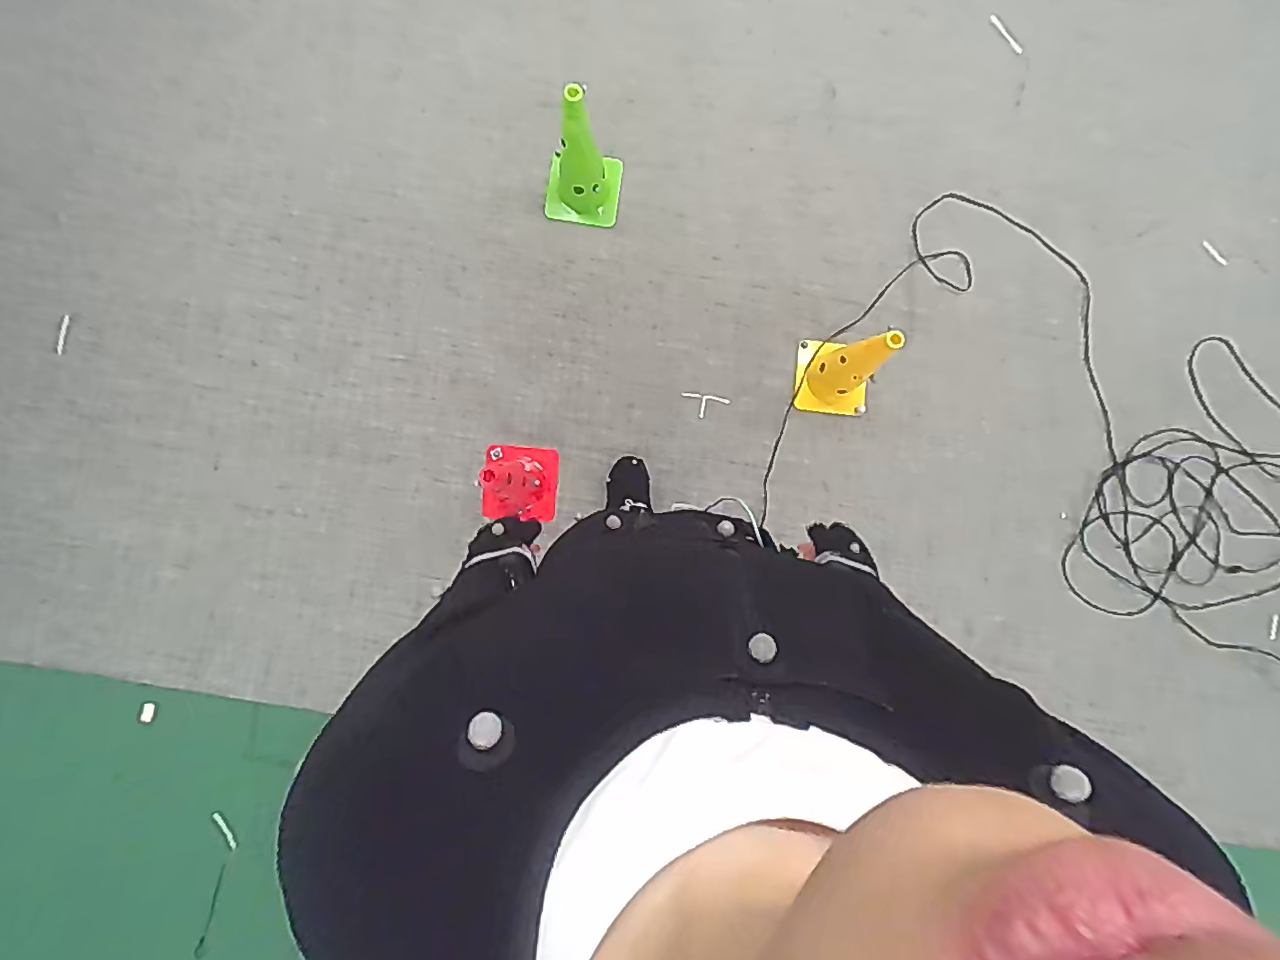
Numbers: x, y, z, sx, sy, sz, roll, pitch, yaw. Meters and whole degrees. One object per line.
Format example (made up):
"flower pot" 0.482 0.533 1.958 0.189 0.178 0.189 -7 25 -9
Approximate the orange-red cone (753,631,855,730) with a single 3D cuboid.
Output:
"orange-red cone" 0.420 0.510 1.297 0.198 0.360 0.199 10 86 -2

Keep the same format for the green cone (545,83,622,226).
"green cone" -0.148 -0.828 1.344 0.202 0.368 0.200 8 87 -3

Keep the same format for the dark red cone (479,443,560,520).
"dark red cone" -0.313 0.000 1.275 0.202 0.394 0.201 4 88 -2
